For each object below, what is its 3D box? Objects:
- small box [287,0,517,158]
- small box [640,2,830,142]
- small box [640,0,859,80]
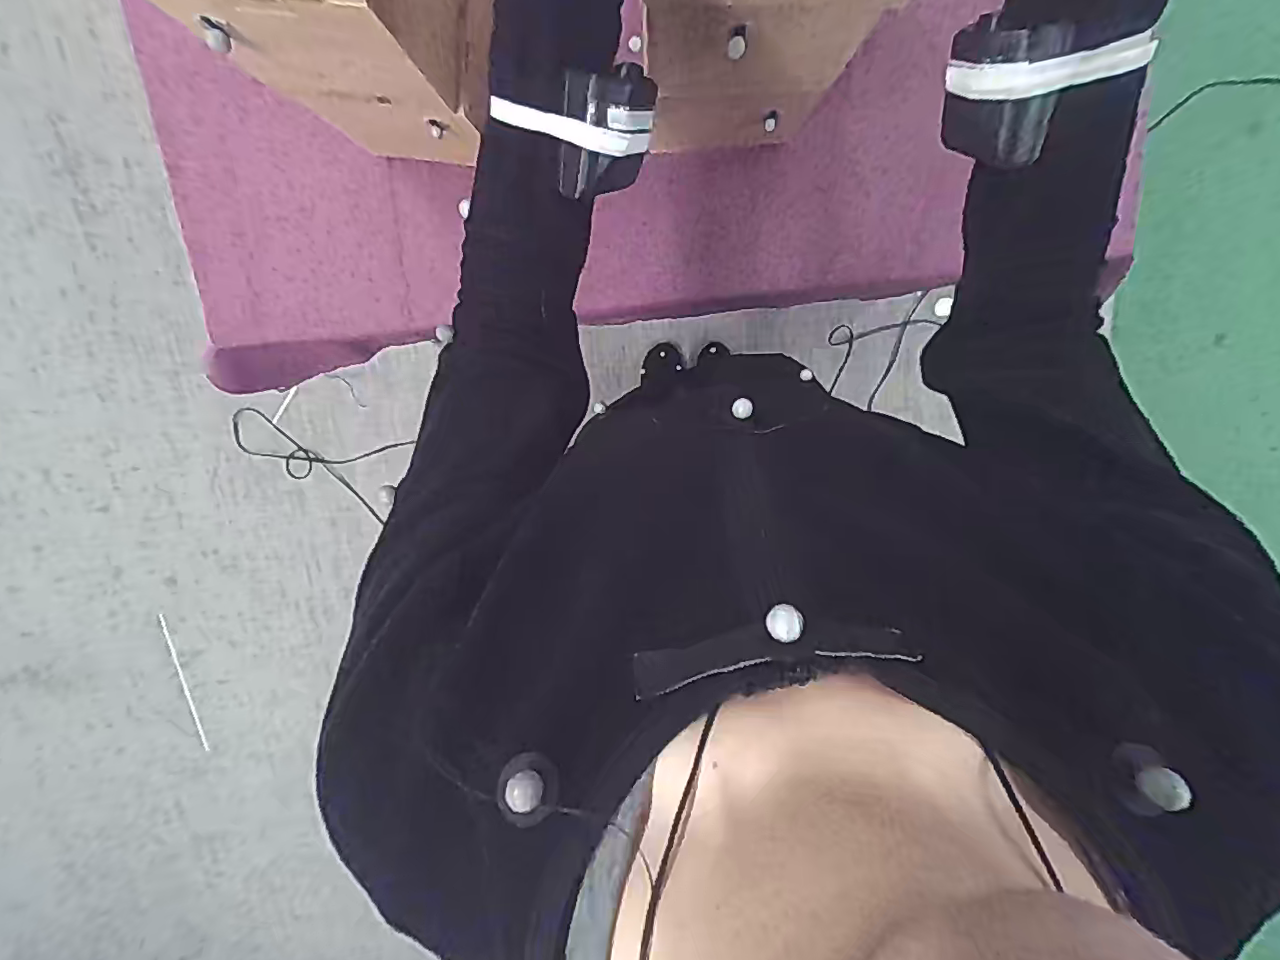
[{"bbox_3d":[-0.243,-0.471,0.582,0.179,0.176,0.168,6,103,-1],"label":"small box"},{"bbox_3d":[0.090,-0.484,0.573,0.179,0.176,0.168,-3,102,2],"label":"small box"},{"bbox_3d":[0.086,-0.439,0.415,0.179,0.176,0.168,-1,103,2],"label":"small box"}]
